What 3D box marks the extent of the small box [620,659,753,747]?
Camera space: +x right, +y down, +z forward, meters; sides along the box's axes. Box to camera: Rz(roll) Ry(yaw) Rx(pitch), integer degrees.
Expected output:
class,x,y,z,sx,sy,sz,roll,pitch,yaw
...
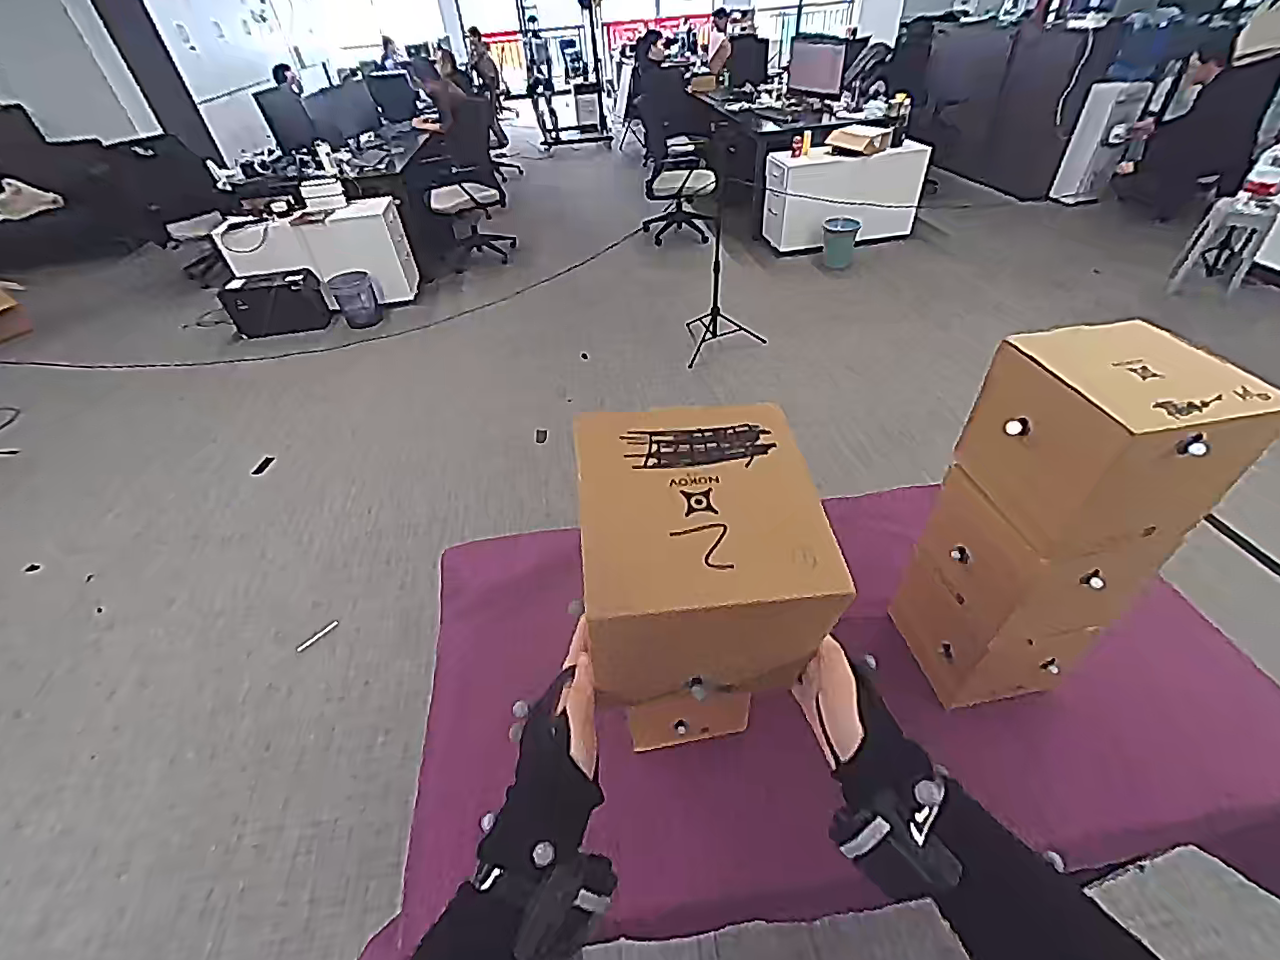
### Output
class,x,y,z,sx,sy,sz,roll,pitch,yaw
small box,0.052,0.253,0.781,0.168,0.176,0.179,-9,43,-5

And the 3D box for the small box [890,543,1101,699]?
class,x,y,z,sx,sy,sz,roll,pitch,yaw
small box,0.498,0.200,0.792,0.168,0.176,0.179,-9,42,-4

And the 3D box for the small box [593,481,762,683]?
class,x,y,z,sx,sy,sz,roll,pitch,yaw
small box,0.041,0.131,0.671,0.168,0.176,0.179,-10,42,-6

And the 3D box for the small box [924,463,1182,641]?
class,x,y,z,sx,sy,sz,roll,pitch,yaw
small box,0.487,0.081,0.680,0.179,0.176,0.168,-9,43,-5

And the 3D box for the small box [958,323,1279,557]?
class,x,y,z,sx,sy,sz,roll,pitch,yaw
small box,0.481,-0.045,0.575,0.168,0.176,0.179,-9,42,-4
